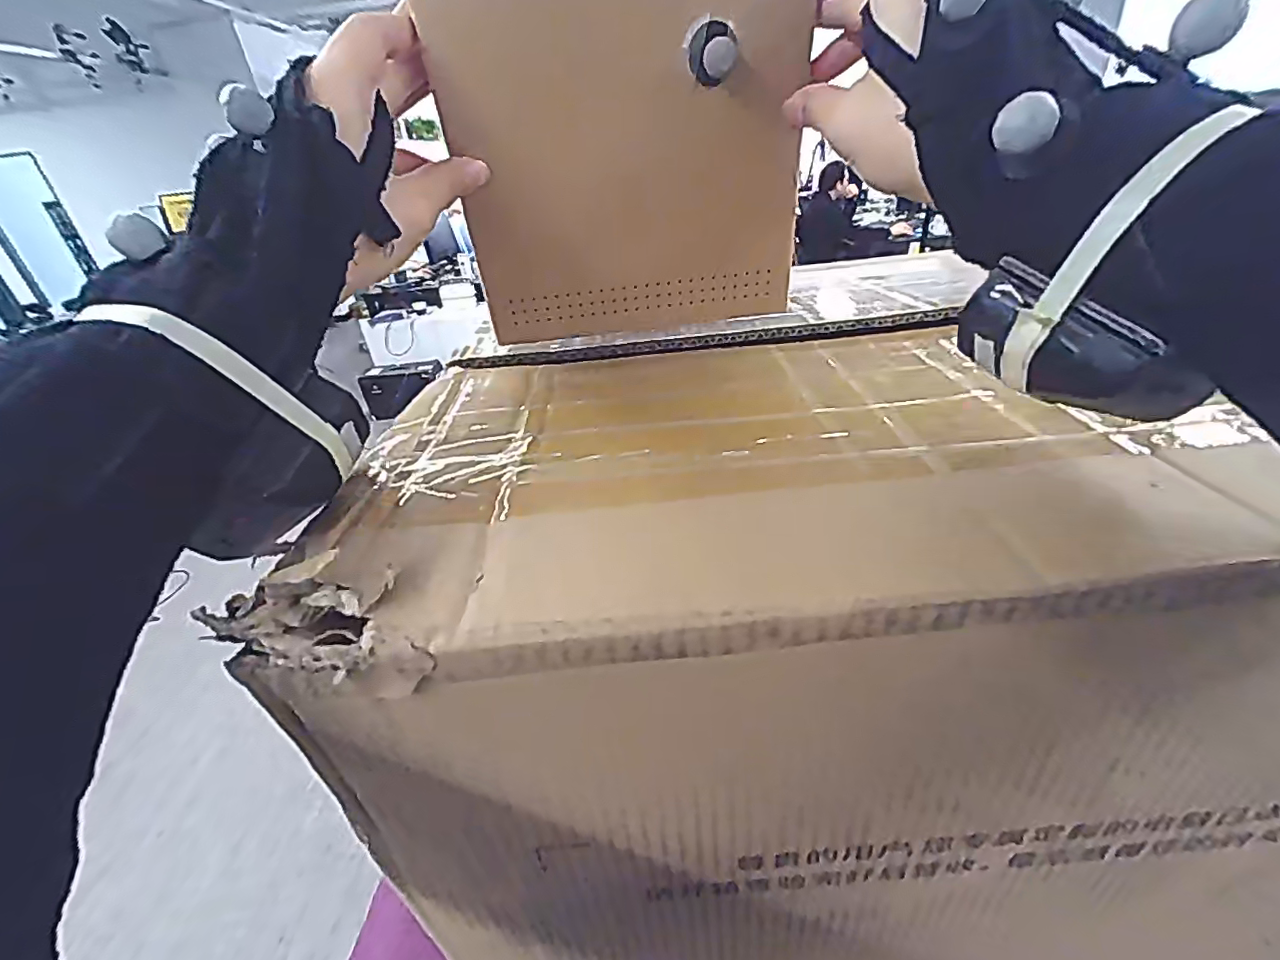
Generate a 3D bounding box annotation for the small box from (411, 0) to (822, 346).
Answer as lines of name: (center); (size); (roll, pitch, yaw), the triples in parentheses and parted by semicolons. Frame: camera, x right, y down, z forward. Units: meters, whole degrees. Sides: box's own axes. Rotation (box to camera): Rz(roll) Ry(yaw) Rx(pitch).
small box: (-0.010, -0.198, 0.330); (0.179, 0.176, 0.168); (-7, 39, -2)
